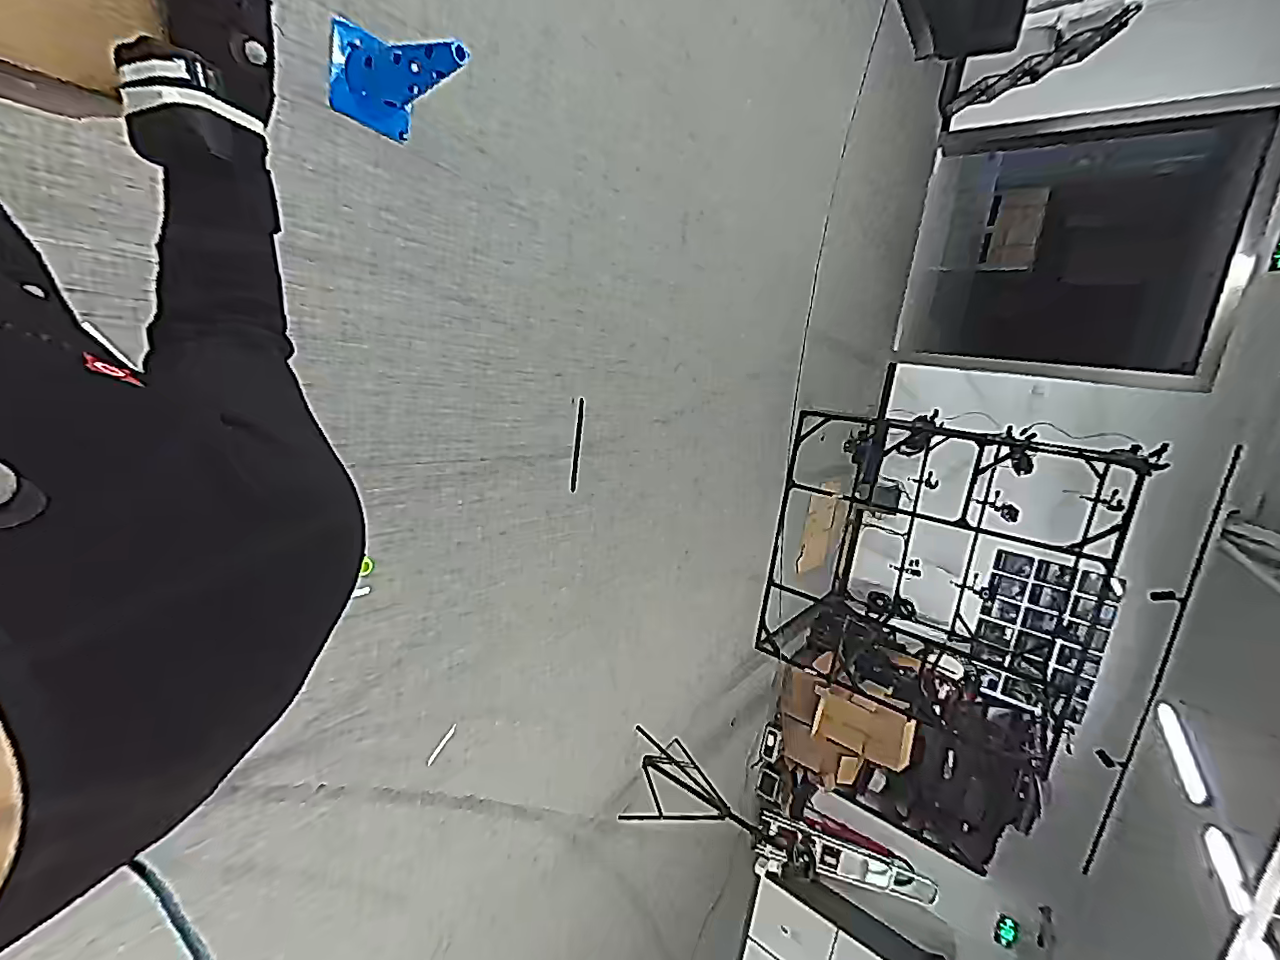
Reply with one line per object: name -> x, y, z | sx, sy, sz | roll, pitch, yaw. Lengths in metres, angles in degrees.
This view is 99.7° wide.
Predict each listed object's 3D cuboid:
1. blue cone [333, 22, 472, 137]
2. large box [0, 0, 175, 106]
blue cone -> -0.528, -0.946, 1.248 | 0.192, 0.380, 0.193 | -2, 105, -55
large box -> -0.541, -0.442, 0.268 | 0.408, 0.320, 0.320 | -11, 120, -54
